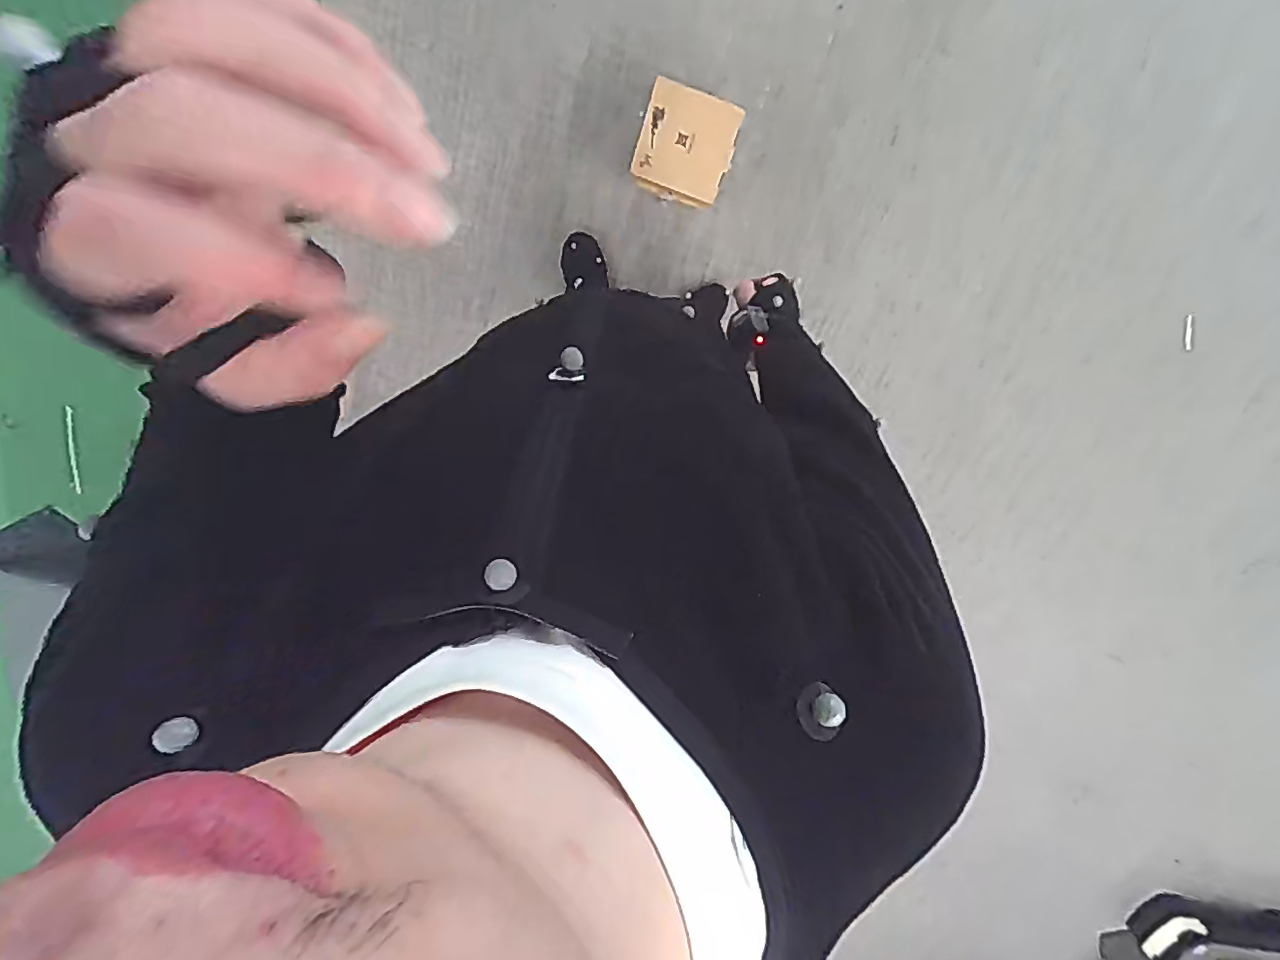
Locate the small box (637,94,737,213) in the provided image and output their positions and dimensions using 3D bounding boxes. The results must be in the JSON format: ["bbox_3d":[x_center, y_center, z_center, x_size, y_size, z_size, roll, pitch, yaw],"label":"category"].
[{"bbox_3d":[0.101,-0.725,1.221,0.168,0.176,0.179,21,115,-6],"label":"small box"}]
